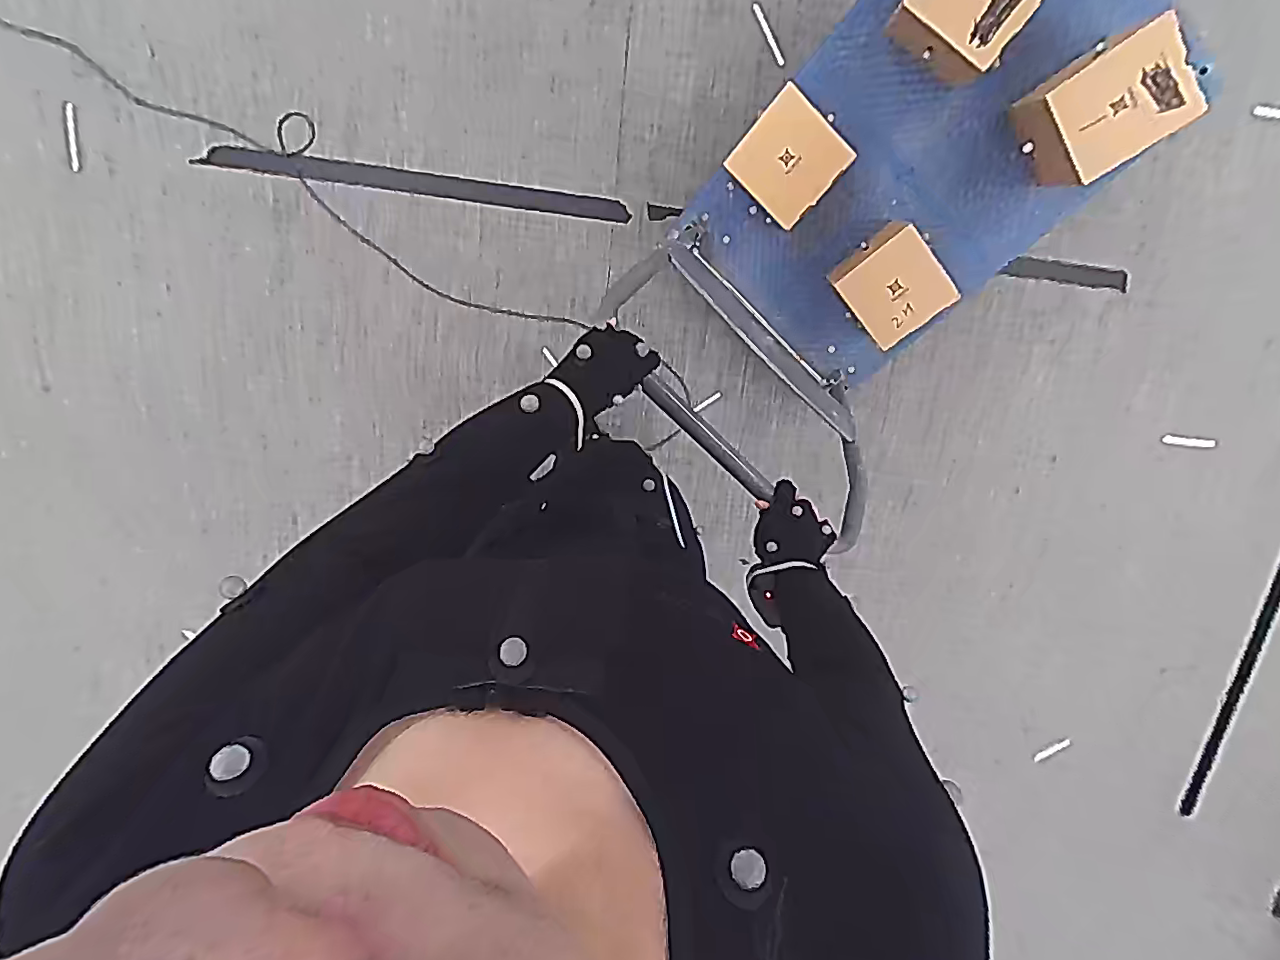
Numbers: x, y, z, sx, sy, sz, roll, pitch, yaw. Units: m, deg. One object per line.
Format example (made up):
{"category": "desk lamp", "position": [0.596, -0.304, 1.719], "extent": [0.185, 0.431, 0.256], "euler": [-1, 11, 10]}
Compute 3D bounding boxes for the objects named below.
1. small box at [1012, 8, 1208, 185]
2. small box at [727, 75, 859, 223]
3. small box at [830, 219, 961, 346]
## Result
{"category": "small box", "position": [0.786, -0.637, 0.923], "extent": [0.179, 0.176, 0.168], "euler": [-30, 107, 26]}
{"category": "small box", "position": [0.287, -0.625, 1.044], "extent": [0.179, 0.176, 0.168], "euler": [41, 118, -11]}
{"category": "small box", "position": [0.510, -0.407, 1.107], "extent": [0.168, 0.176, 0.179], "euler": [-36, 105, 27]}
